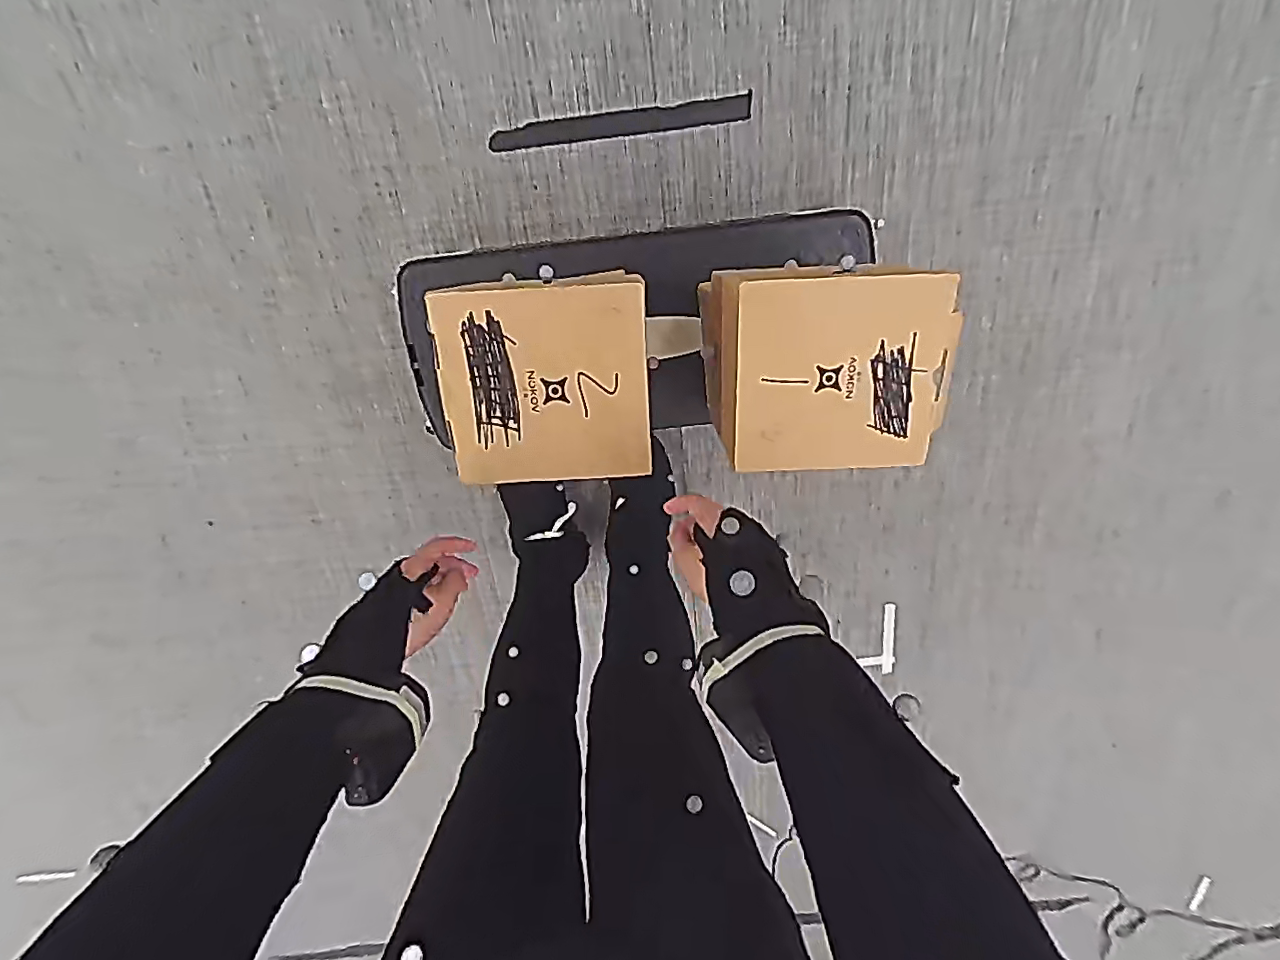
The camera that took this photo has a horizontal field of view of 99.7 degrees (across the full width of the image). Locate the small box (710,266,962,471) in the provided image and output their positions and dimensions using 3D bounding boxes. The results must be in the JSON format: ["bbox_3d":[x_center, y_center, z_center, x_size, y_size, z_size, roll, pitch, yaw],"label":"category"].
[{"bbox_3d":[0.169,-0.117,0.530,0.179,0.176,0.168,-2,113,1],"label":"small box"}]
